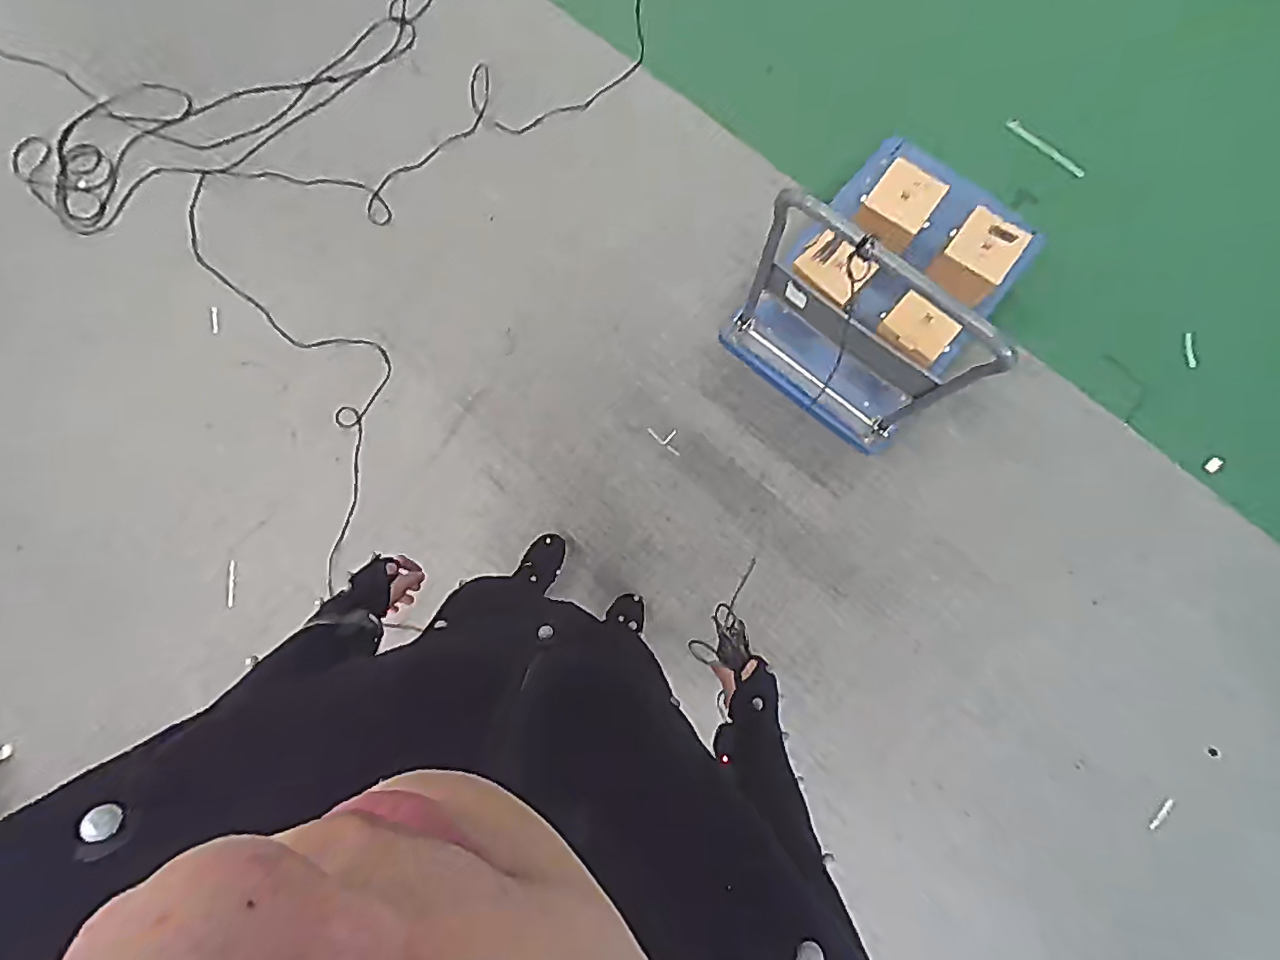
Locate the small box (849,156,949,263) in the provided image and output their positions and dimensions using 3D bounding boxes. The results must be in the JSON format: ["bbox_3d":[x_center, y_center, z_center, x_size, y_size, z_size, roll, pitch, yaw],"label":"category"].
[{"bbox_3d":[0.716,-0.753,1.525,0.168,0.176,0.179,36,84,6],"label":"small box"}]

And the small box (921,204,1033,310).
[{"bbox_3d":[0.919,-0.606,1.494,0.168,0.176,0.179,36,85,8],"label":"small box"}]

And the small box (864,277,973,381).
[{"bbox_3d":[0.744,-0.403,1.468,0.168,0.176,0.179,41,85,7],"label":"small box"}]
